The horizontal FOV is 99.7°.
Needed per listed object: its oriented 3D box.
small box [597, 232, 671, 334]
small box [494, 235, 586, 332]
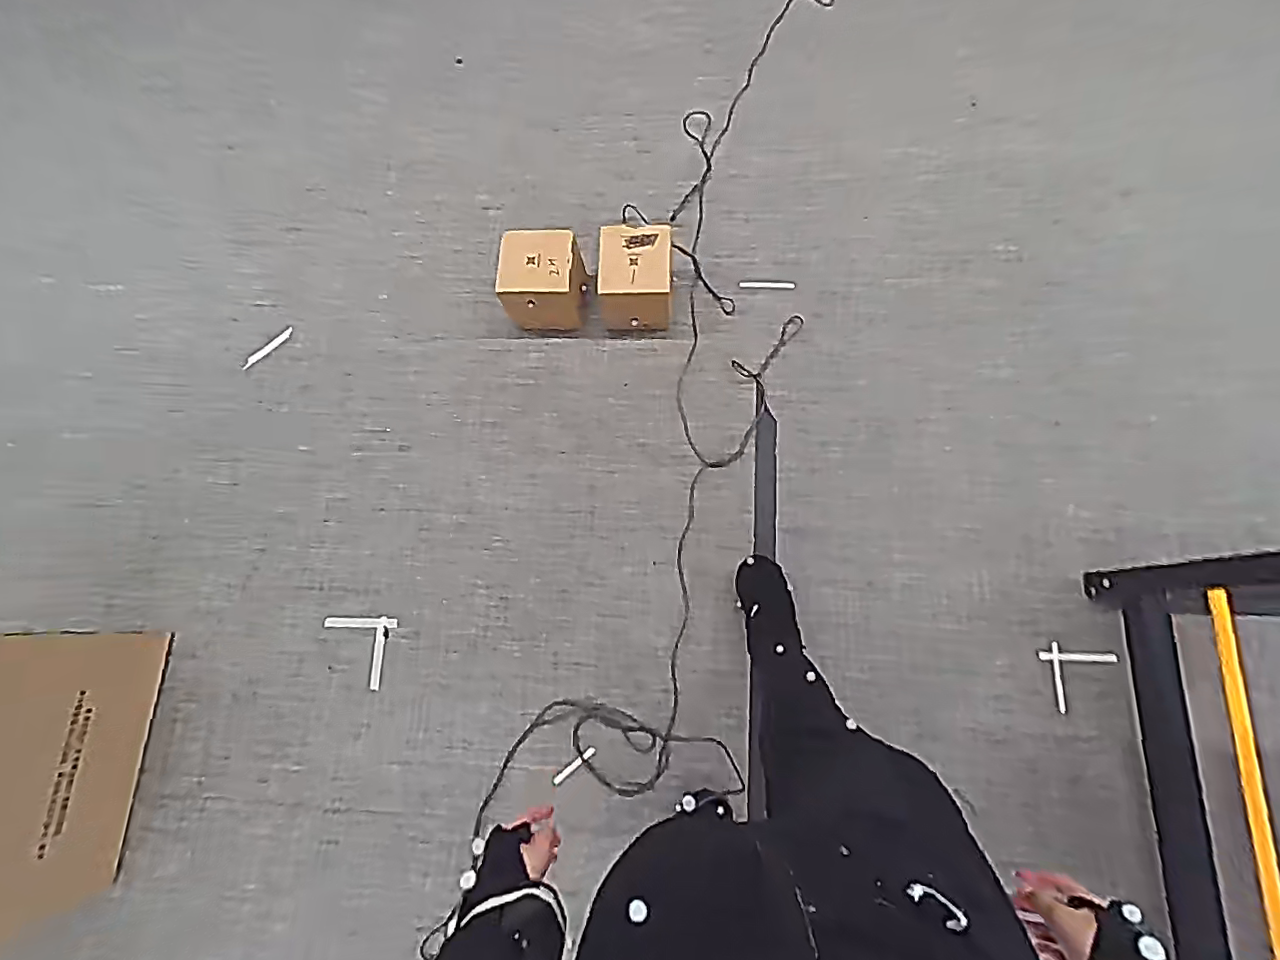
[{"bbox_3d":[-0.009,-0.477,1.319,0.168,0.176,0.179,1,77,5],"label":"small box"},{"bbox_3d":[-0.240,-0.481,1.337,0.179,0.176,0.168,2,77,6],"label":"small box"}]
